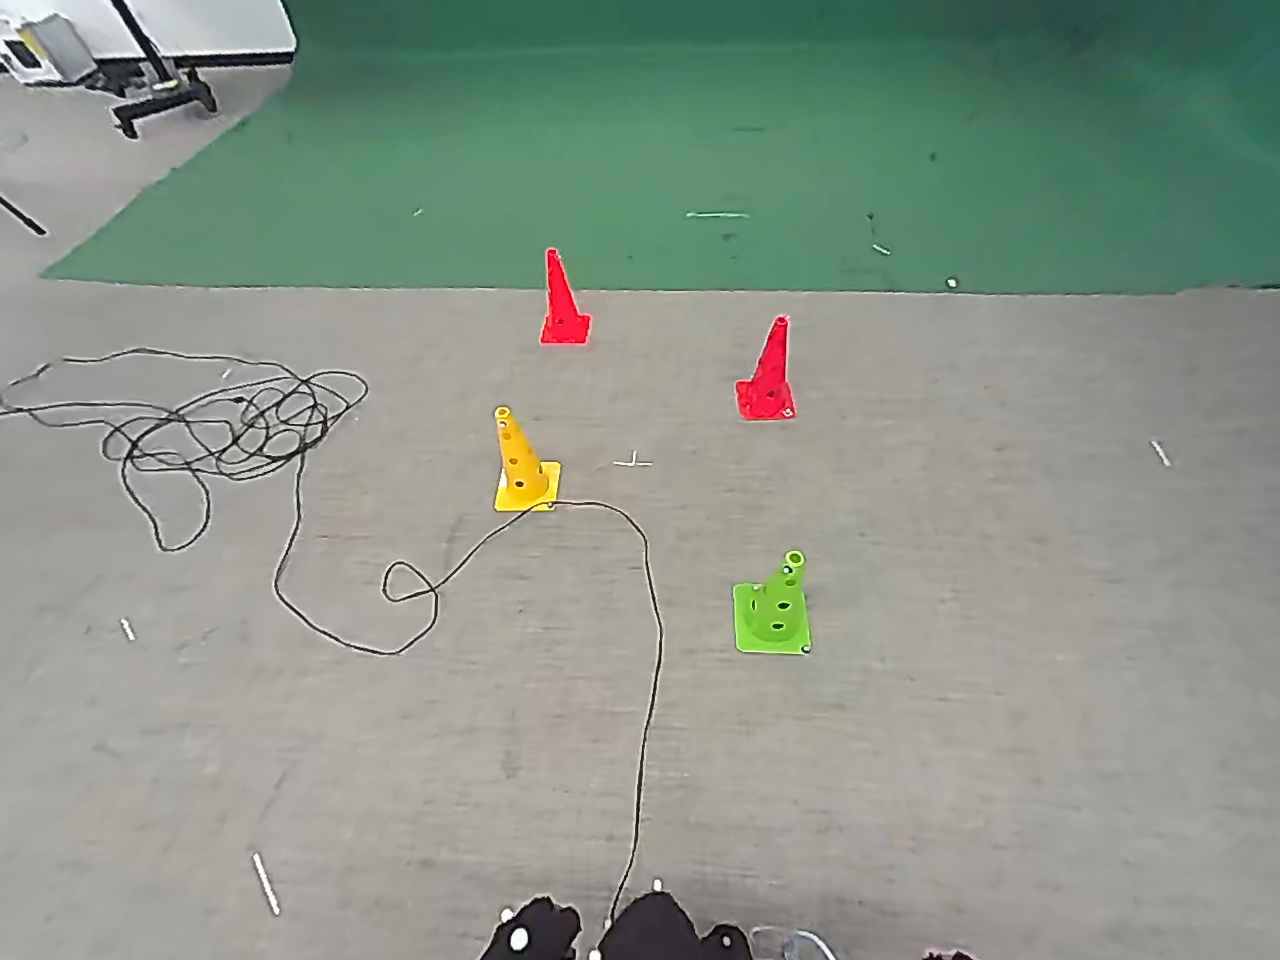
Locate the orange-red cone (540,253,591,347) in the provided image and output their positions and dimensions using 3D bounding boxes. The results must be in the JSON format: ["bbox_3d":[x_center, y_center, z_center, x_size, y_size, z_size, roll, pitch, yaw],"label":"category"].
[{"bbox_3d":[-0.326,-0.731,2.156,0.198,0.360,0.199,1,54,6],"label":"orange-red cone"}]

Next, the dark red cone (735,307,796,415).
[{"bbox_3d":[0.448,-0.413,1.845,0.202,0.394,0.201,-3,52,1],"label":"dark red cone"}]

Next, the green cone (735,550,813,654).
[{"bbox_3d":[0.357,0.279,1.365,0.202,0.368,0.200,0,53,5],"label":"green cone"}]
